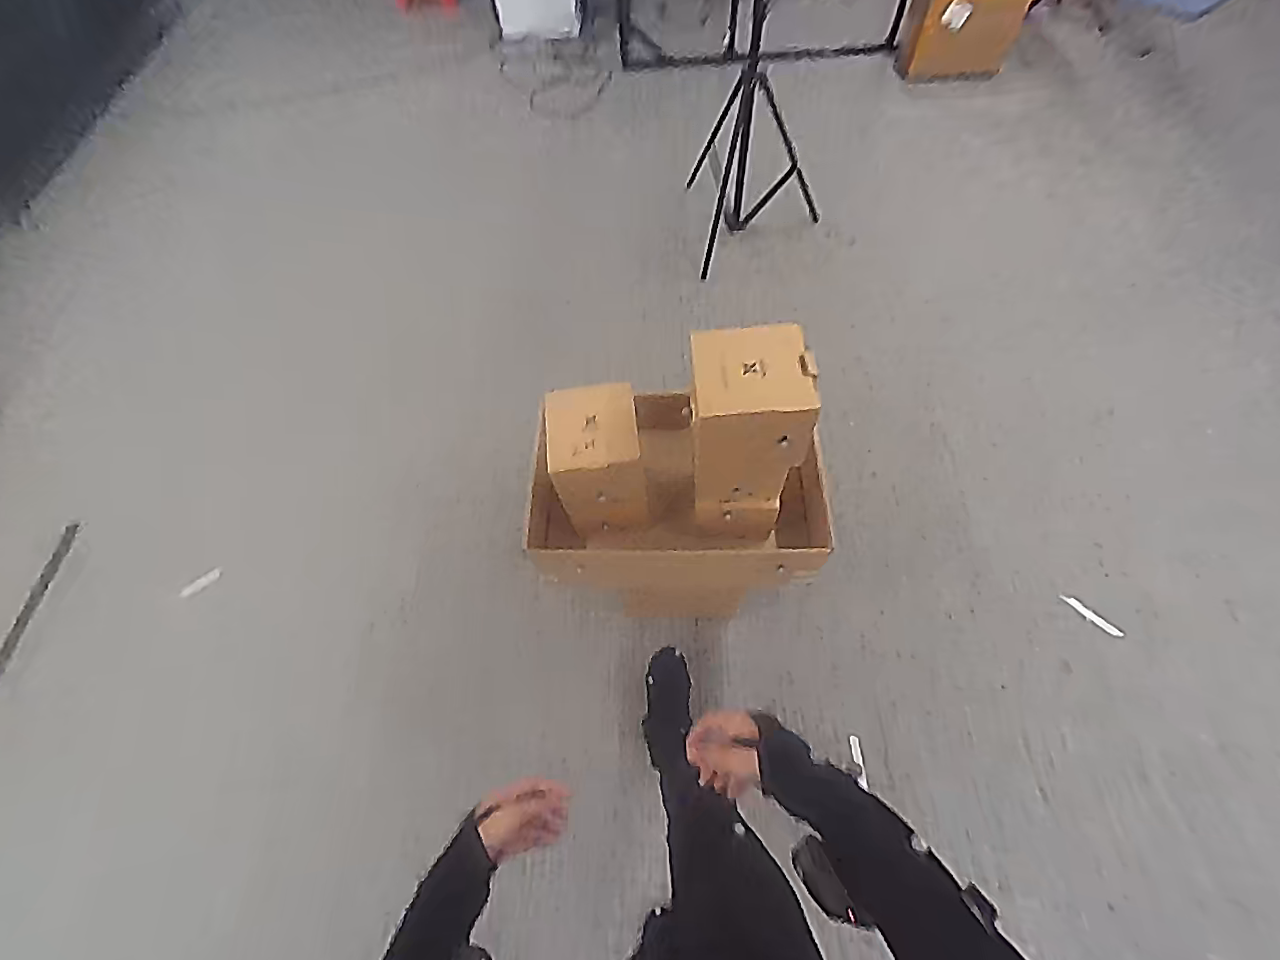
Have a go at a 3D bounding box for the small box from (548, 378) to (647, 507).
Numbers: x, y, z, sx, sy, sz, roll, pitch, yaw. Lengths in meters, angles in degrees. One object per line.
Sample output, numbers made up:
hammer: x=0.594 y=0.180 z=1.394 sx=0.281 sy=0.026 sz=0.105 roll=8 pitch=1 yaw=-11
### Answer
small box: x=-0.079 y=-0.068 z=1.041 sx=0.168 sy=0.176 sz=0.179 roll=-8 pitch=63 yaw=1

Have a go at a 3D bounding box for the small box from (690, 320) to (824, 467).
small box: x=0.175 y=-0.132 z=0.867 sx=0.179 sy=0.176 sz=0.168 roll=-3 pitch=61 yaw=2

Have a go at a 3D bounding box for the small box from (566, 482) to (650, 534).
small box: x=-0.071 y=0.000 z=1.190 sx=0.168 sy=0.176 sz=0.179 roll=-8 pitch=62 yaw=0
